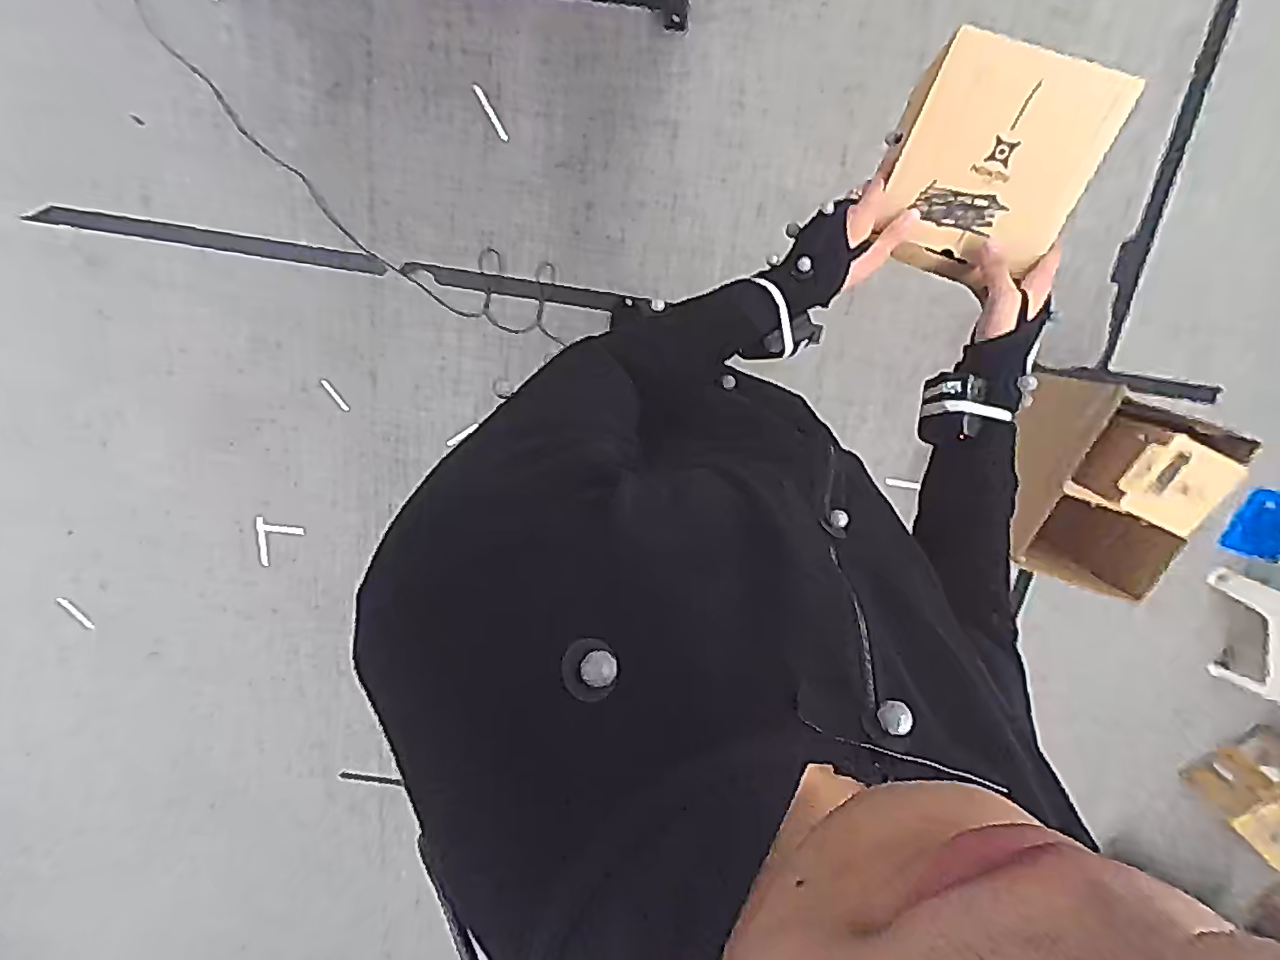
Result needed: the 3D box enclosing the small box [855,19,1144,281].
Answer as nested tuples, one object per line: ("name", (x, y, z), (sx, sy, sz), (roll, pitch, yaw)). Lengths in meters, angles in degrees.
("small box", (0.343, -0.321, 0.566), (0.168, 0.176, 0.179), (21, 113, 5))
